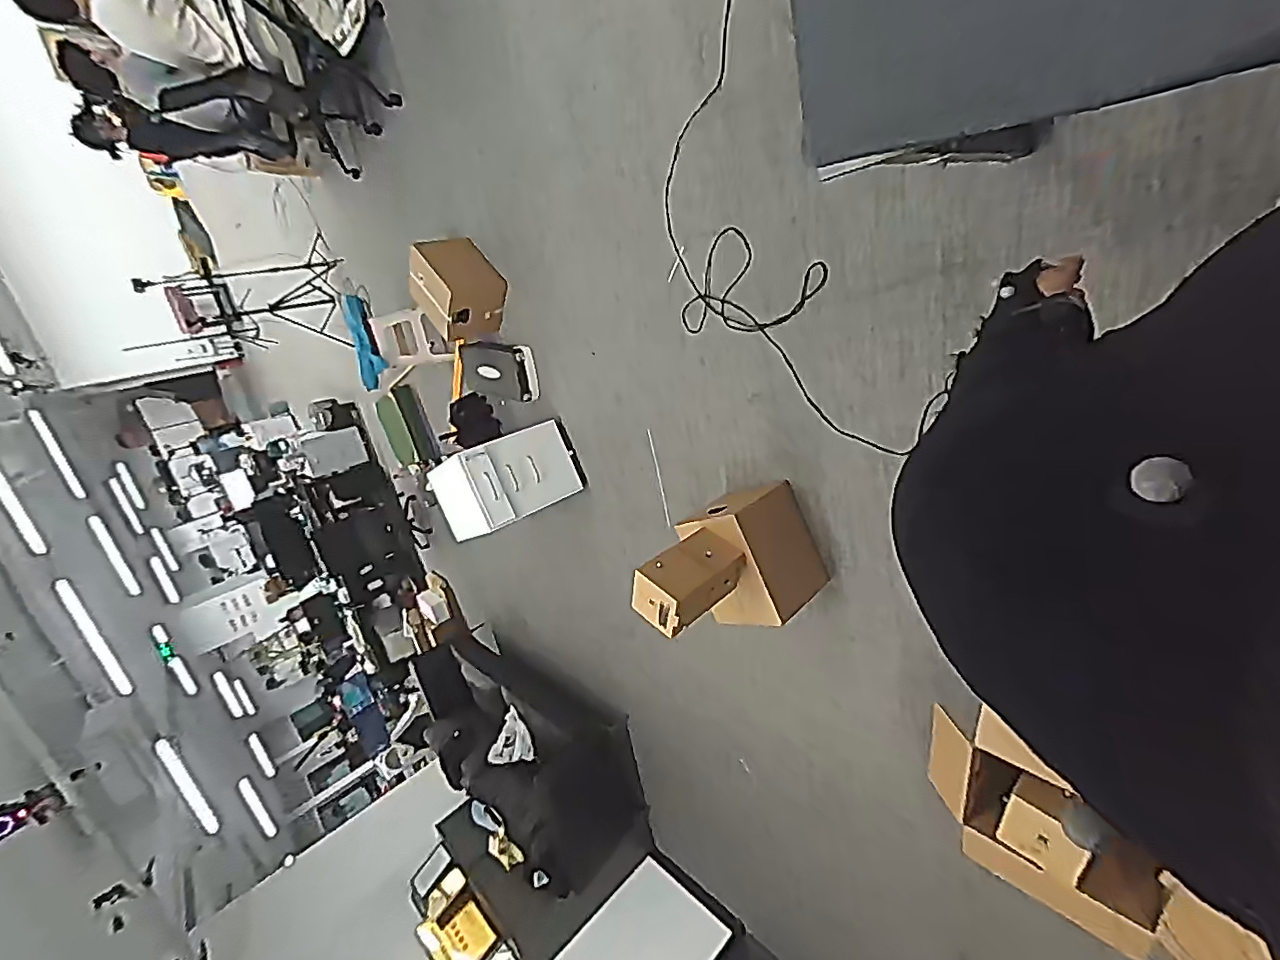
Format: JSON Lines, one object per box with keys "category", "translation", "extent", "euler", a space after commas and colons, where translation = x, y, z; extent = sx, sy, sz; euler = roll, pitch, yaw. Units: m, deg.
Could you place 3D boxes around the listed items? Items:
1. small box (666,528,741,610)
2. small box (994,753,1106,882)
{"category": "small box", "translation": [0.210, 0.286, 1.784], "extent": [0.179, 0.176, 0.168], "euler": [31, 132, 33]}
{"category": "small box", "translation": [1.016, 0.824, 1.339], "extent": [0.168, 0.176, 0.179], "euler": [25, 128, 44]}
